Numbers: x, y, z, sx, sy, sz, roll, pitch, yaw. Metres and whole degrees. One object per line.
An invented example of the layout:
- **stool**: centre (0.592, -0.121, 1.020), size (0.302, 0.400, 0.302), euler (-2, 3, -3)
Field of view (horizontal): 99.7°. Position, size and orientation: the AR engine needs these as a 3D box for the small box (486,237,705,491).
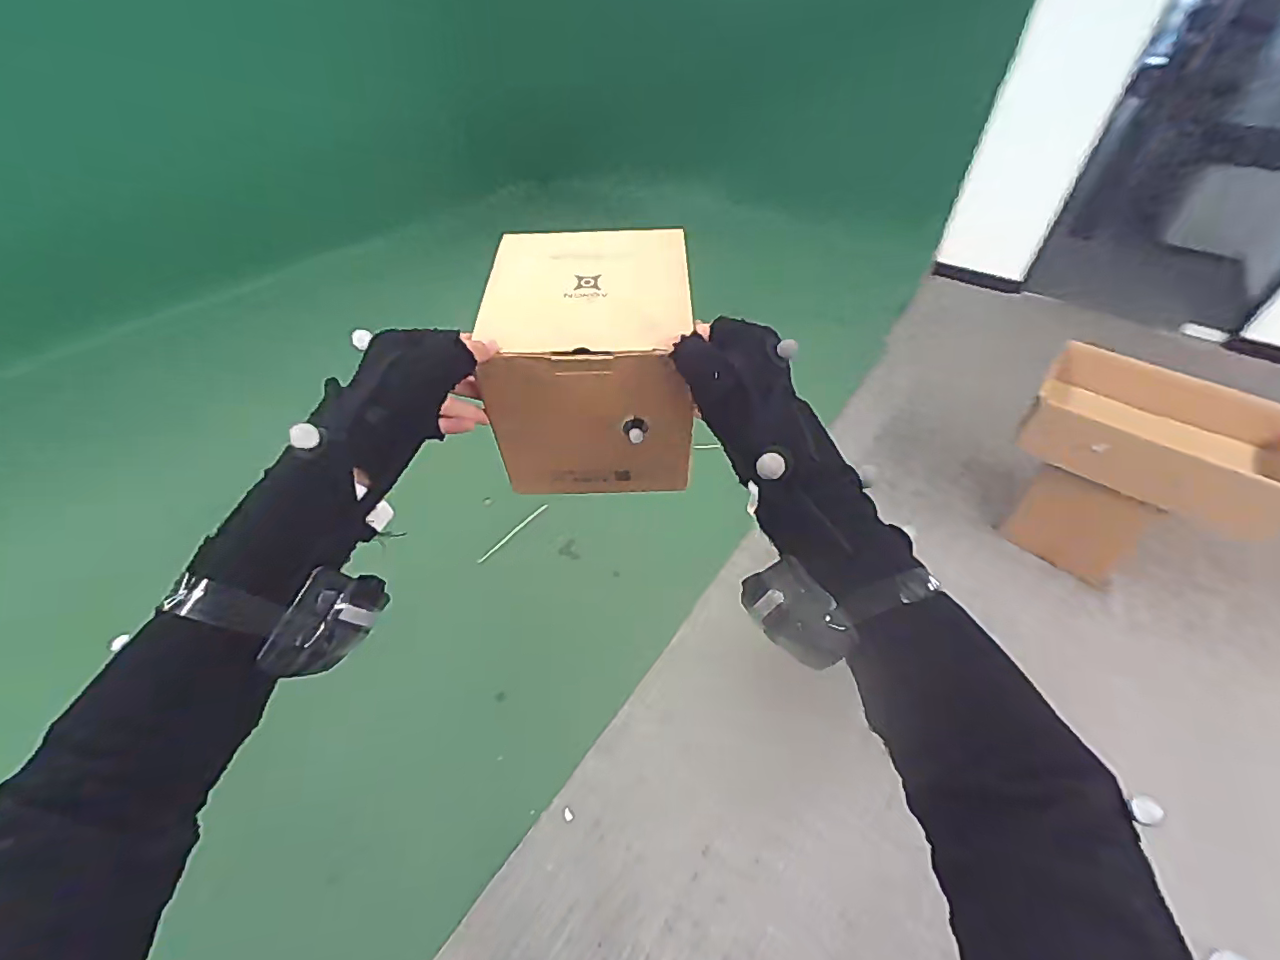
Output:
- **small box**: centre (-0.028, -0.103, 0.505), size (0.168, 0.176, 0.179), euler (0, 50, 1)
